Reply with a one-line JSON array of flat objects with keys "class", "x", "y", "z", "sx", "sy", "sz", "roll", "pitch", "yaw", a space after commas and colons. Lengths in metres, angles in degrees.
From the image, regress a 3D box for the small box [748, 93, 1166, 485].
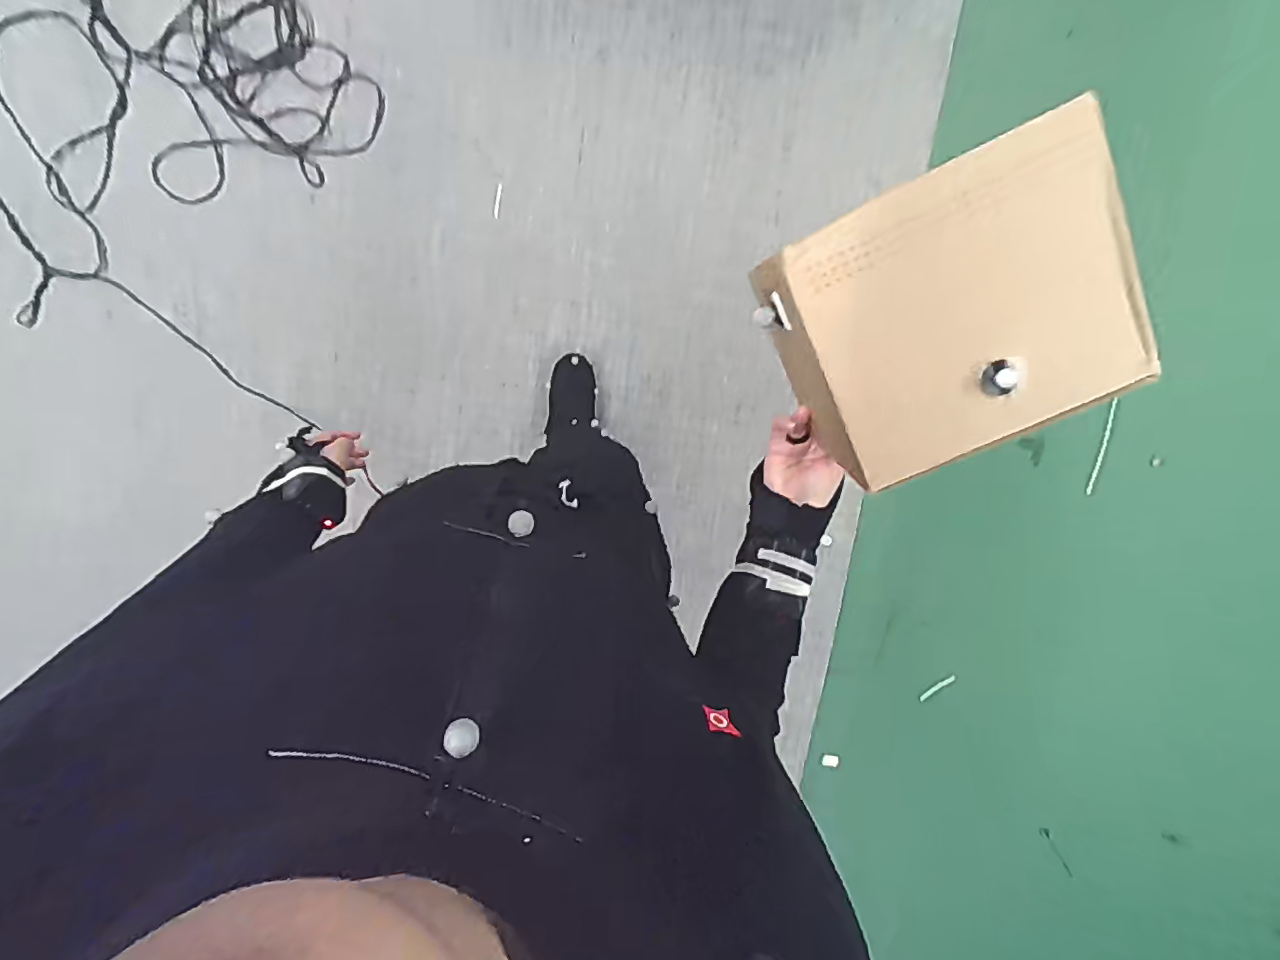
[{"class": "small box", "x": 0.197, "y": -0.124, "z": 0.384, "sx": 0.179, "sy": 0.168, "sz": 0.176, "roll": -23, "pitch": 101, "yaw": 12}]
